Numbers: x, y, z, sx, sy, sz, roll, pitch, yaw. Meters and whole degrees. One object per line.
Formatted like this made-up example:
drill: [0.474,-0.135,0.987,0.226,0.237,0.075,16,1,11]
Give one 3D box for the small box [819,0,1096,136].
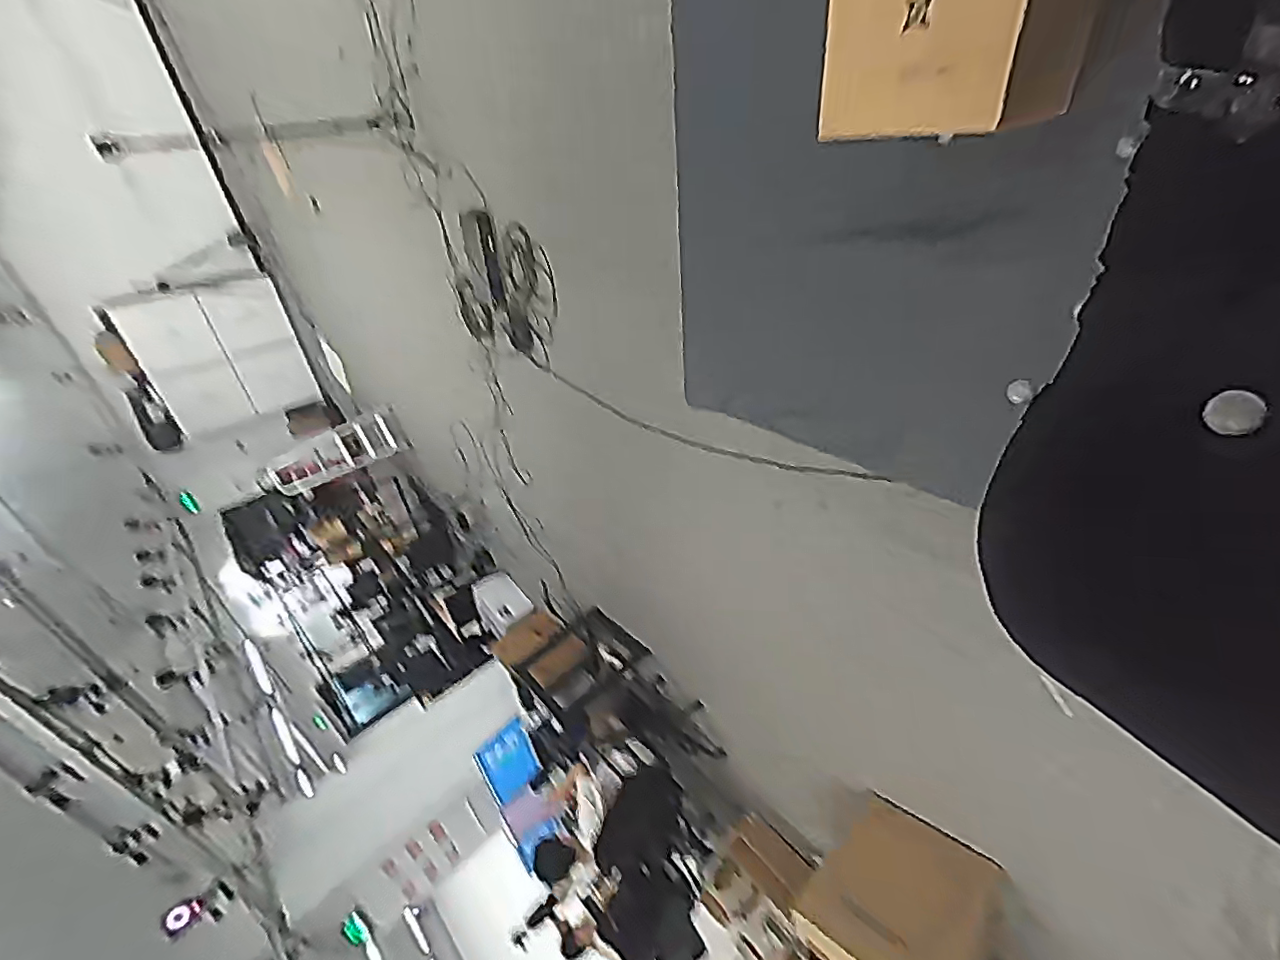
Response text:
small box: [0.283,-0.419,0.477,0.168,0.176,0.179,29,139,41]
